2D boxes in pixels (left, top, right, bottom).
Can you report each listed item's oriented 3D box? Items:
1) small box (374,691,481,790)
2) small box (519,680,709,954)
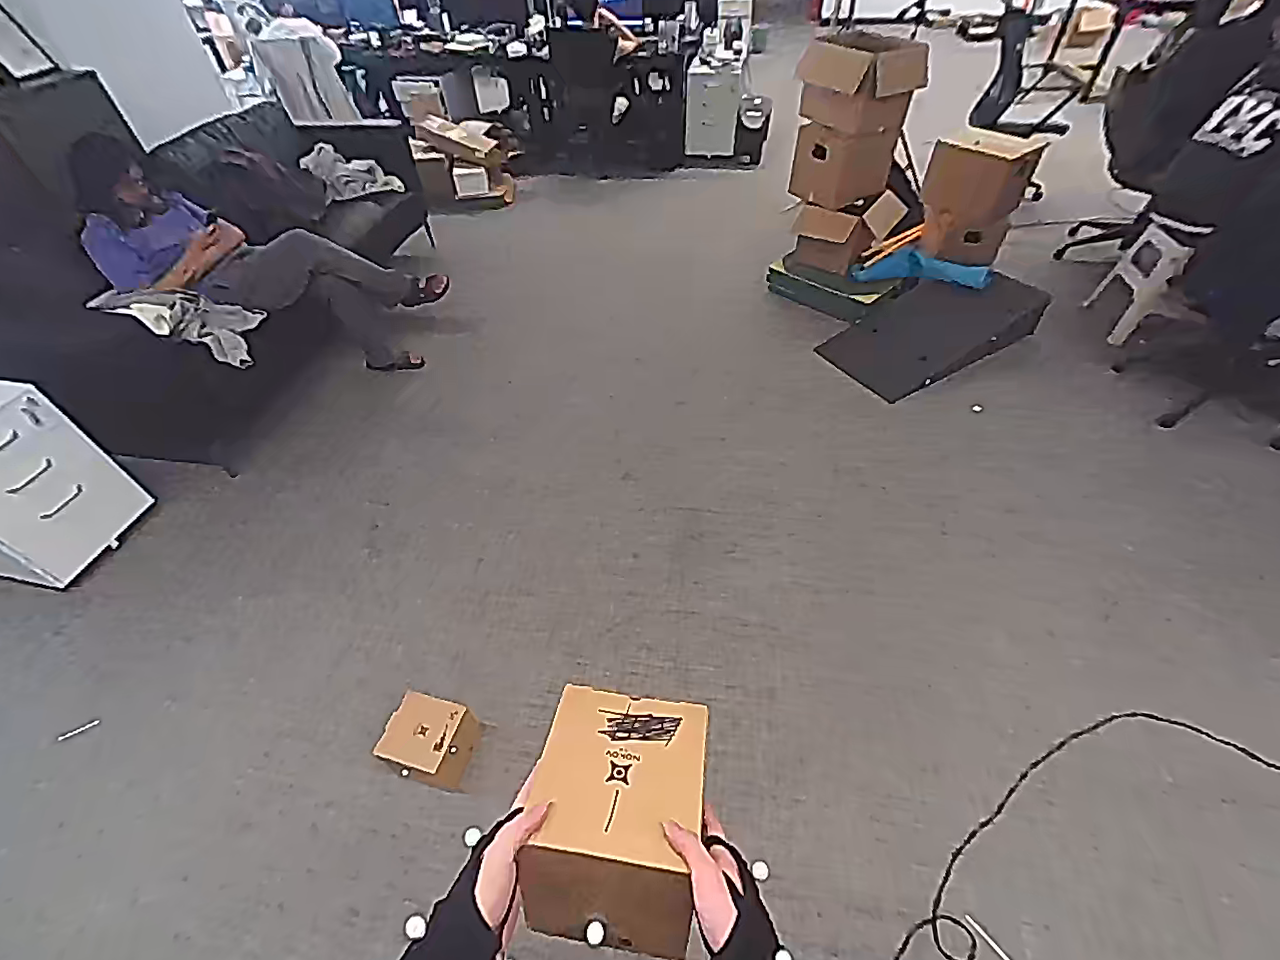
[{"bbox_3d":[-0.544,0.683,1.411,0.179,0.176,0.168,10,47,13],"label":"small box"},{"bbox_3d":[-0.020,0.351,0.581,0.168,0.176,0.179,5,28,7],"label":"small box"}]
